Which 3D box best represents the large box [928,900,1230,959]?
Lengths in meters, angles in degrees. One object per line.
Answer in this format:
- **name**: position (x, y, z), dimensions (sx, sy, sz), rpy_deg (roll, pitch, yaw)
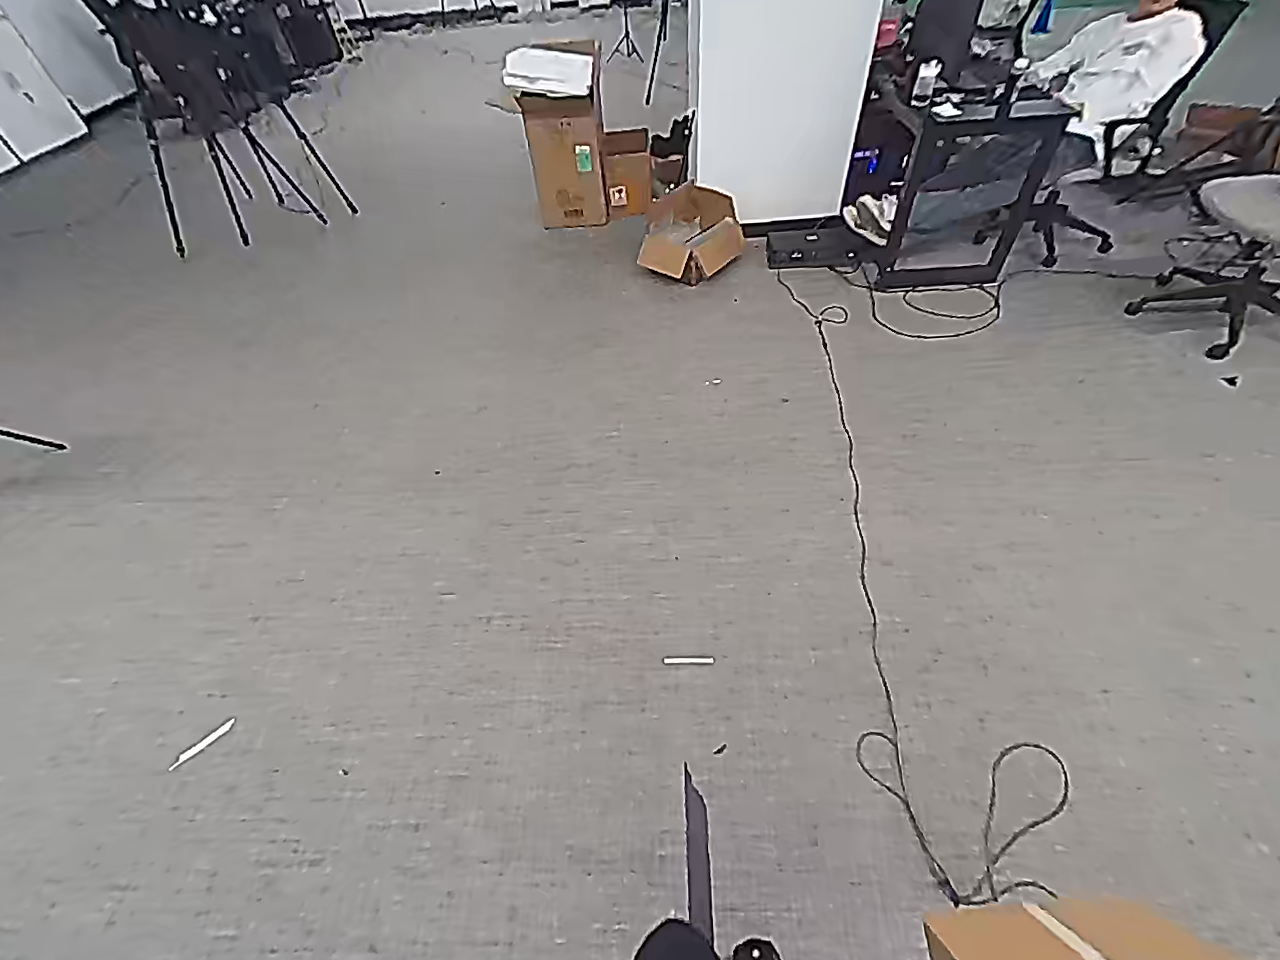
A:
- **large box**: position (0.582, 0.733, 0.578), dimensions (0.320, 0.408, 0.320), rpy_deg (-8, 75, 3)
